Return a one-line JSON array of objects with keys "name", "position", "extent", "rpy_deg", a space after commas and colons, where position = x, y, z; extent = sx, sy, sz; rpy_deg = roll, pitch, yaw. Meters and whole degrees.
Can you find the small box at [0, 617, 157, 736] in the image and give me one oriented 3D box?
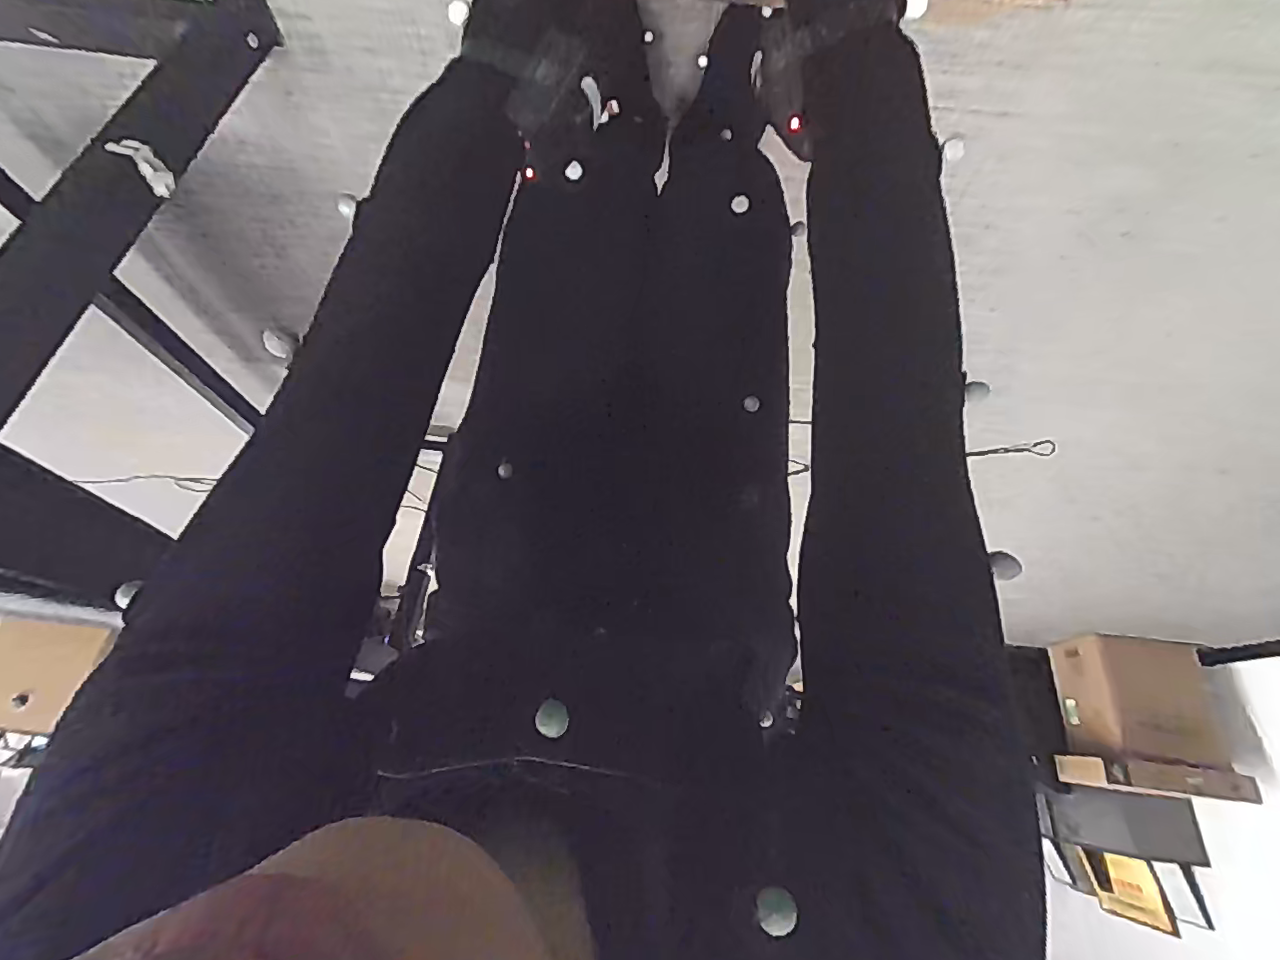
[{"name": "small box", "position": [-0.975, 0.335, 0.924], "extent": [0.179, 0.176, 0.168], "rpy_deg": [8, 155, -3]}]
